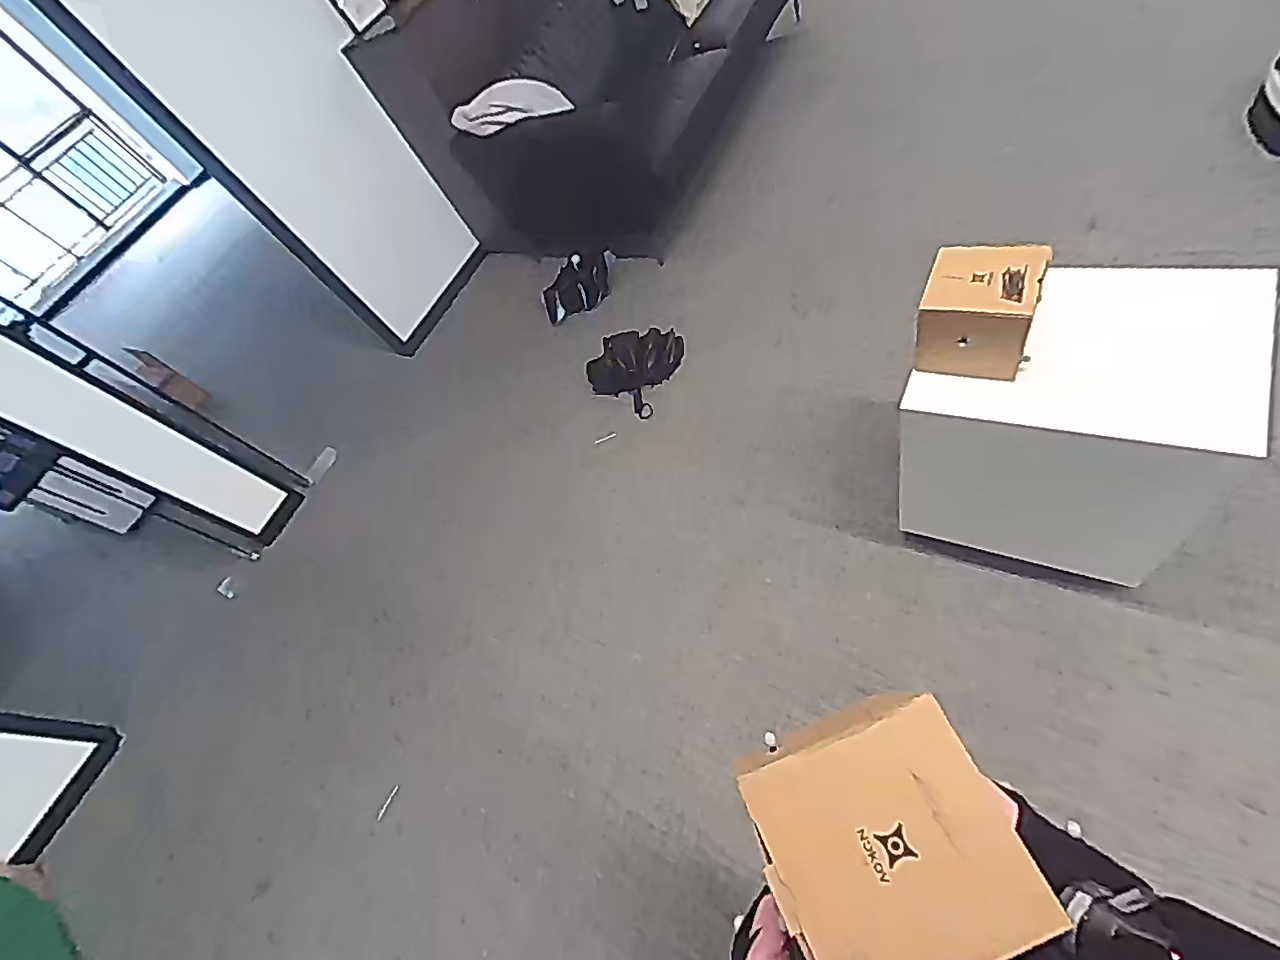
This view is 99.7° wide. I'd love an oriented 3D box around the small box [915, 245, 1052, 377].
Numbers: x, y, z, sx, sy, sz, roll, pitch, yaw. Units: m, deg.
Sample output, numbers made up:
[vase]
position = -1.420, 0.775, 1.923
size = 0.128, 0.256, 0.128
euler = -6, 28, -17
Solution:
[small box]
position = 0.631, -0.312, 1.010
size = 0.179, 0.176, 0.168
euler = 15, 67, 32
